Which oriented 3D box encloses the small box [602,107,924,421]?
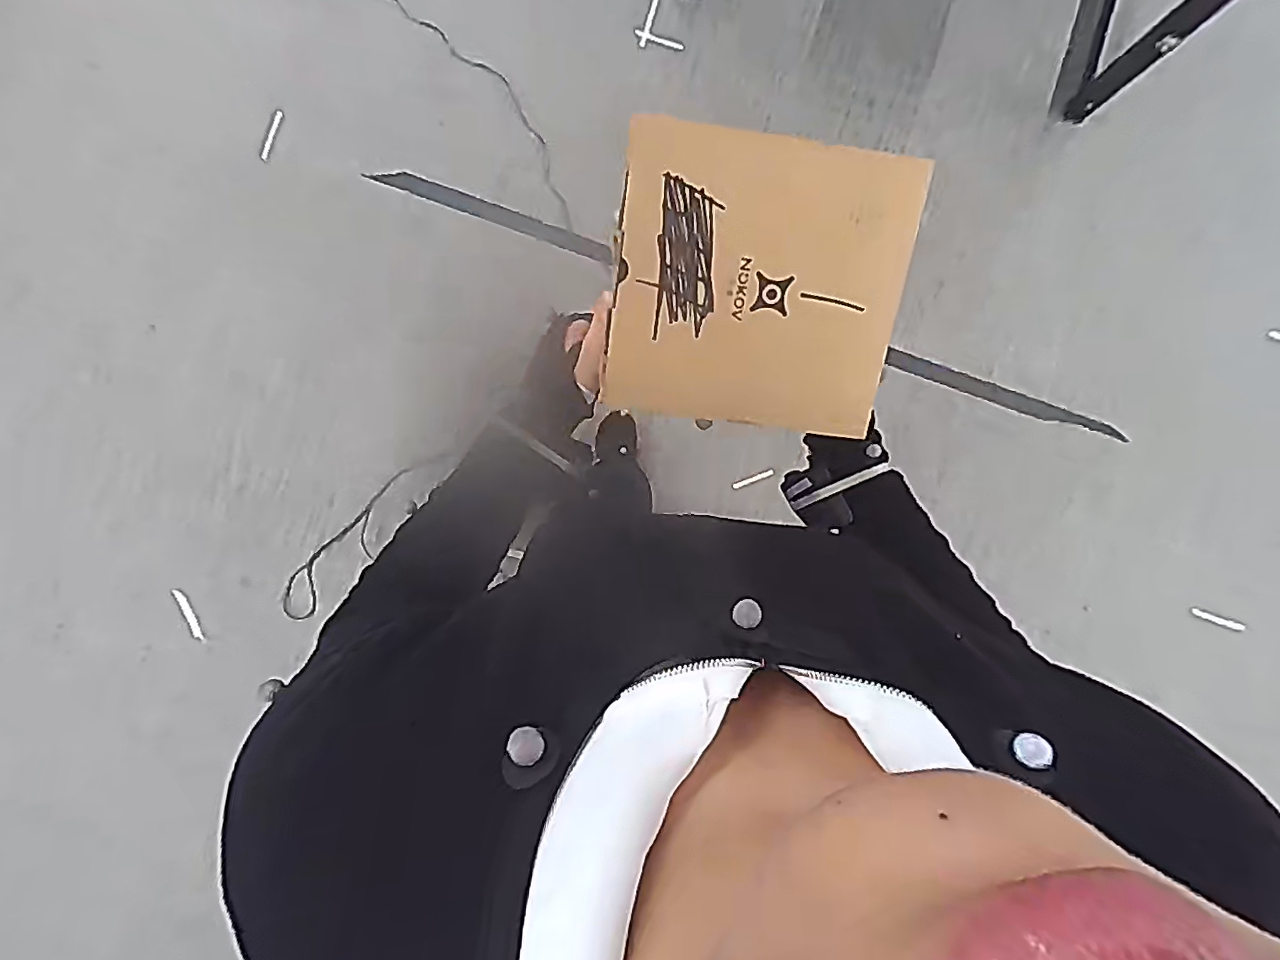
[{"bbox_3d":[0.071,-0.148,0.411,0.179,0.176,0.168,7,106,-3],"label":"small box"}]
